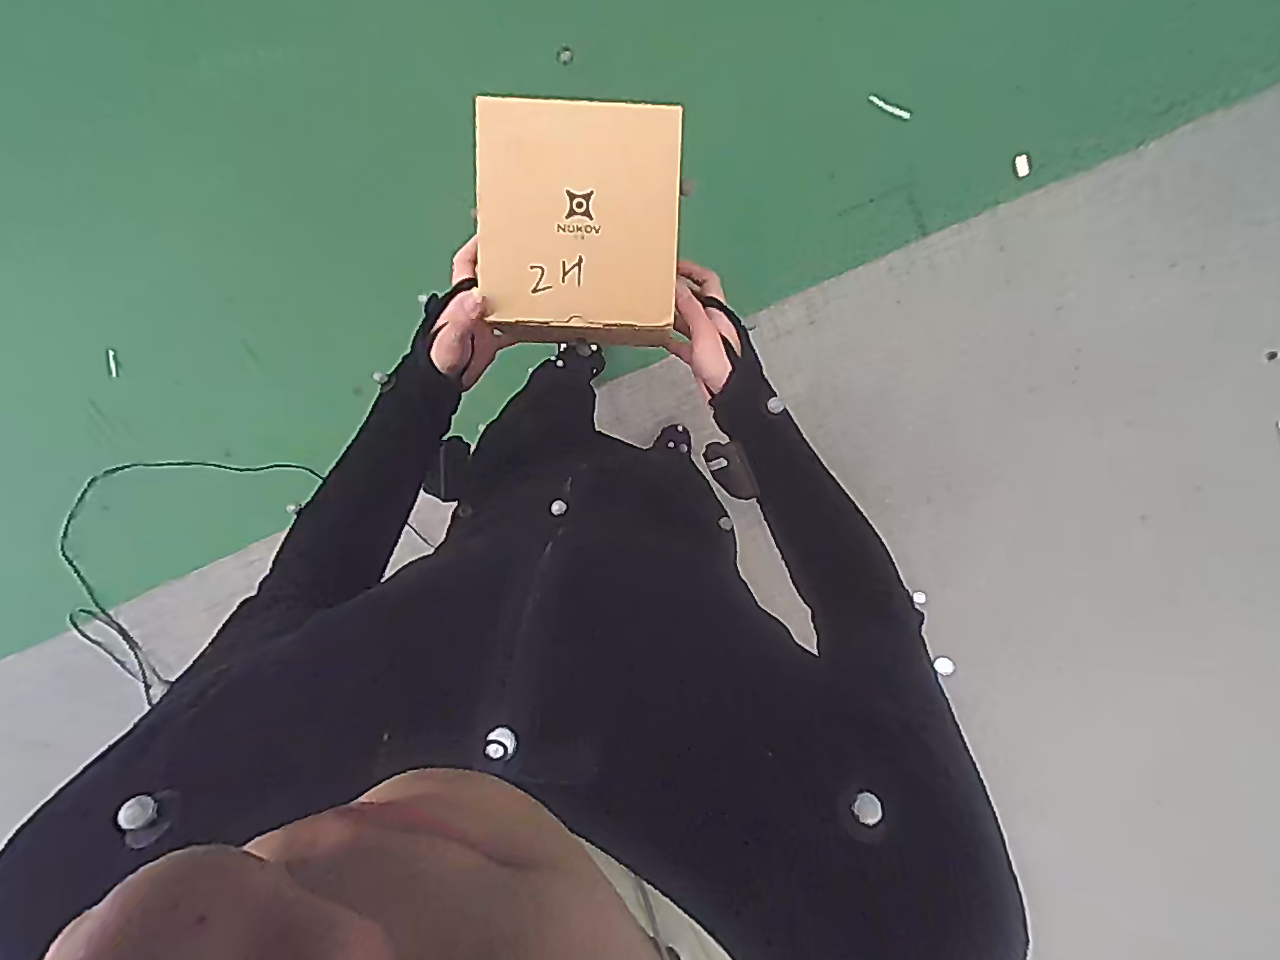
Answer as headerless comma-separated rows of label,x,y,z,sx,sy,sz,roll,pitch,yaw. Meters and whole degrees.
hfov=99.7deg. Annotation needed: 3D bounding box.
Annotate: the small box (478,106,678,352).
small box,-0.056,-0.227,0.533,0.168,0.176,0.179,2,98,-2
